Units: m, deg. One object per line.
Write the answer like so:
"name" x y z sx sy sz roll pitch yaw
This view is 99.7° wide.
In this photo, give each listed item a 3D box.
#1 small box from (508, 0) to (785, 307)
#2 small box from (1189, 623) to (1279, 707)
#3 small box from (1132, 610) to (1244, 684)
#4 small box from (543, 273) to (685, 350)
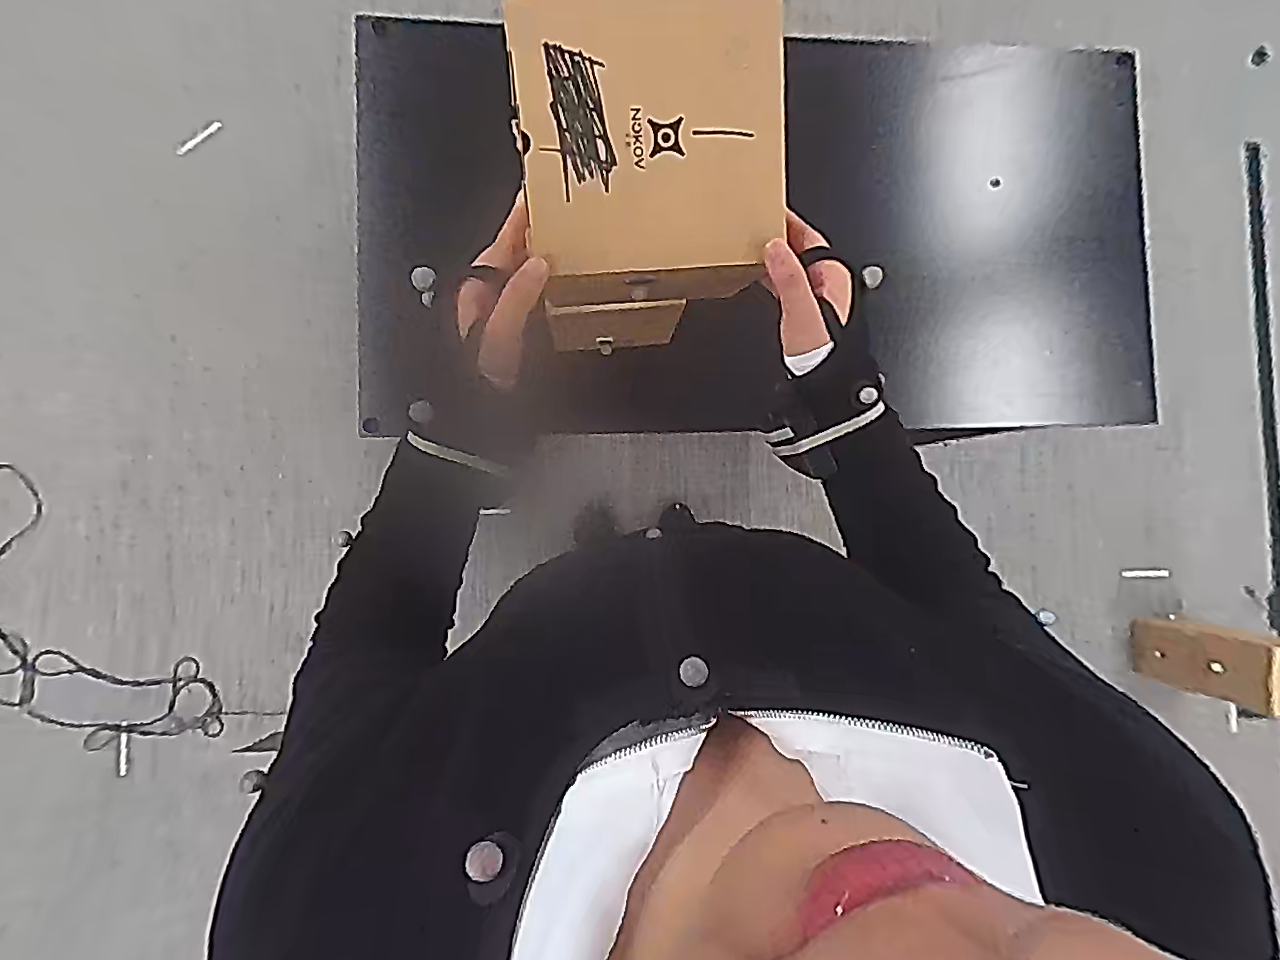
"small box" 0.003 -0.237 0.432 0.179 0.176 0.168 -5 101 -4
"small box" 1.578 0.470 1.383 0.179 0.176 0.168 4 88 -4
"small box" 1.562 0.473 1.548 0.179 0.176 0.168 -2 89 -4
"small box" -0.042 -0.284 0.709 0.168 0.176 0.179 -7 90 -4
